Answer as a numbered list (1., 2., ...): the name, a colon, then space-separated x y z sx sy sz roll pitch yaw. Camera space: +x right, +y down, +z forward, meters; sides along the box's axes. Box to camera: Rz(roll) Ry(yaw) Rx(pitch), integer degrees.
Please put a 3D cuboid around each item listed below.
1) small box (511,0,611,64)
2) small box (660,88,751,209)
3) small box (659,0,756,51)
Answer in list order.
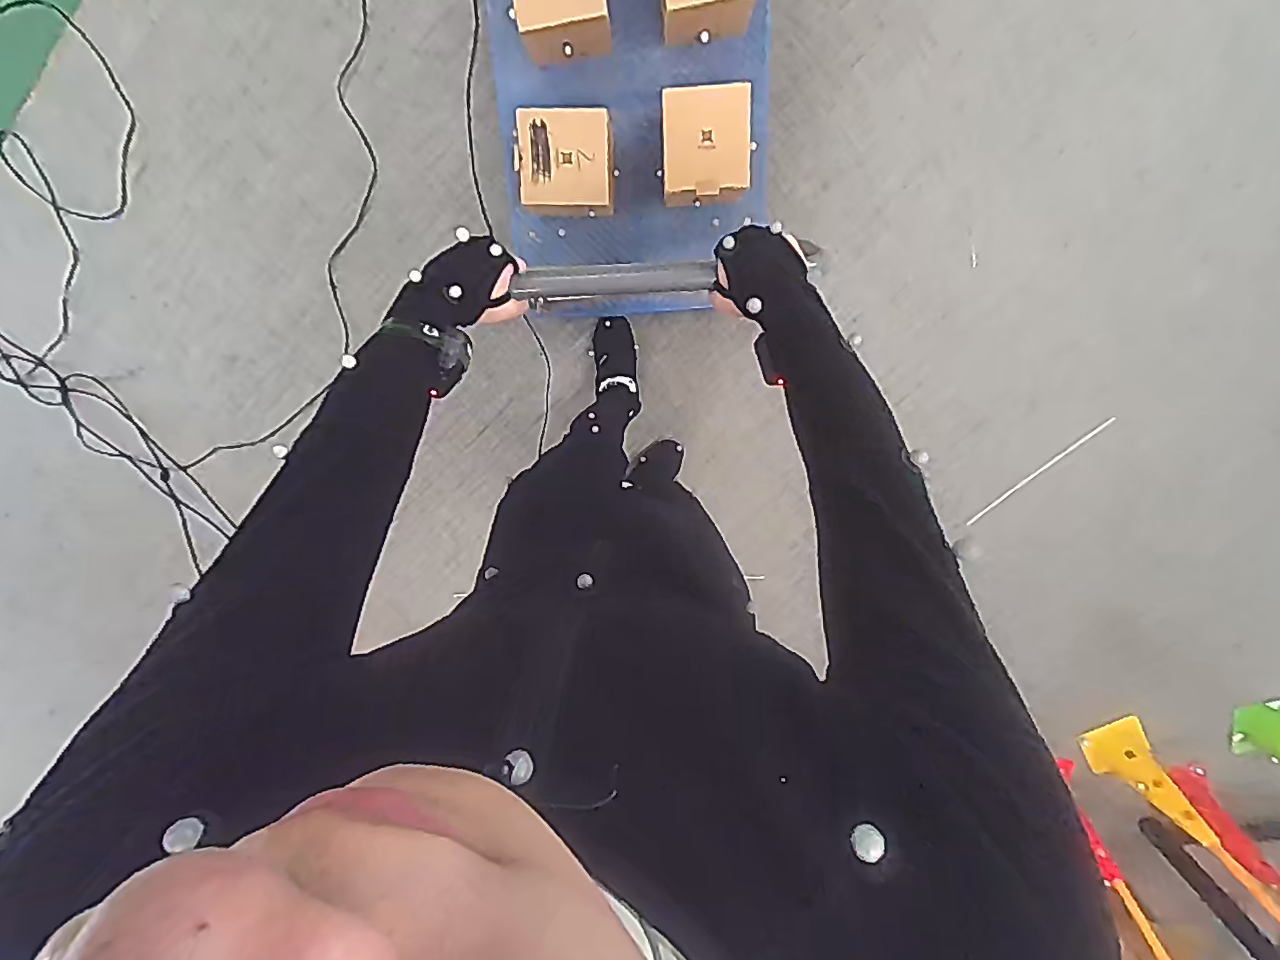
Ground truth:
1. small box: -0.151 -0.918 1.017 0.168 0.176 0.179 -8 109 3
2. small box: 0.127 -0.664 1.101 0.168 0.176 0.179 -2 110 2
3. small box: 0.117 -0.944 1.003 0.168 0.176 0.179 -7 110 4
